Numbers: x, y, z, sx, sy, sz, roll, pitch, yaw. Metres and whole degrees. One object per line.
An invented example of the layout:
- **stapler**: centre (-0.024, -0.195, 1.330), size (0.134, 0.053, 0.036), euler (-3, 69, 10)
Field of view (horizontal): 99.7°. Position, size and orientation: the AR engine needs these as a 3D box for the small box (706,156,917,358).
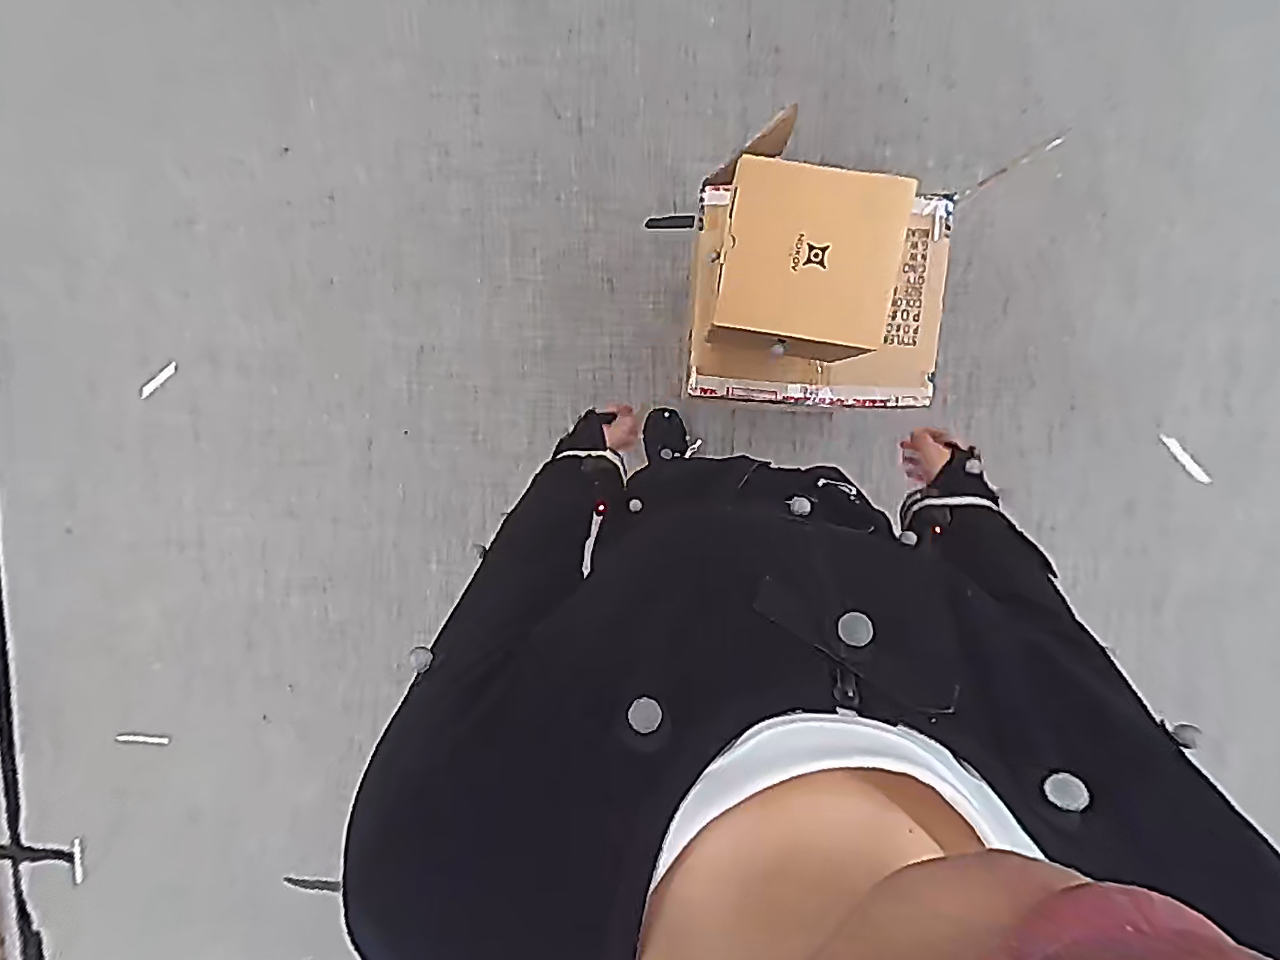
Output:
- **small box**: centre (0.178, -0.237, 0.619), size (0.179, 0.176, 0.168), euler (10, 99, 3)
